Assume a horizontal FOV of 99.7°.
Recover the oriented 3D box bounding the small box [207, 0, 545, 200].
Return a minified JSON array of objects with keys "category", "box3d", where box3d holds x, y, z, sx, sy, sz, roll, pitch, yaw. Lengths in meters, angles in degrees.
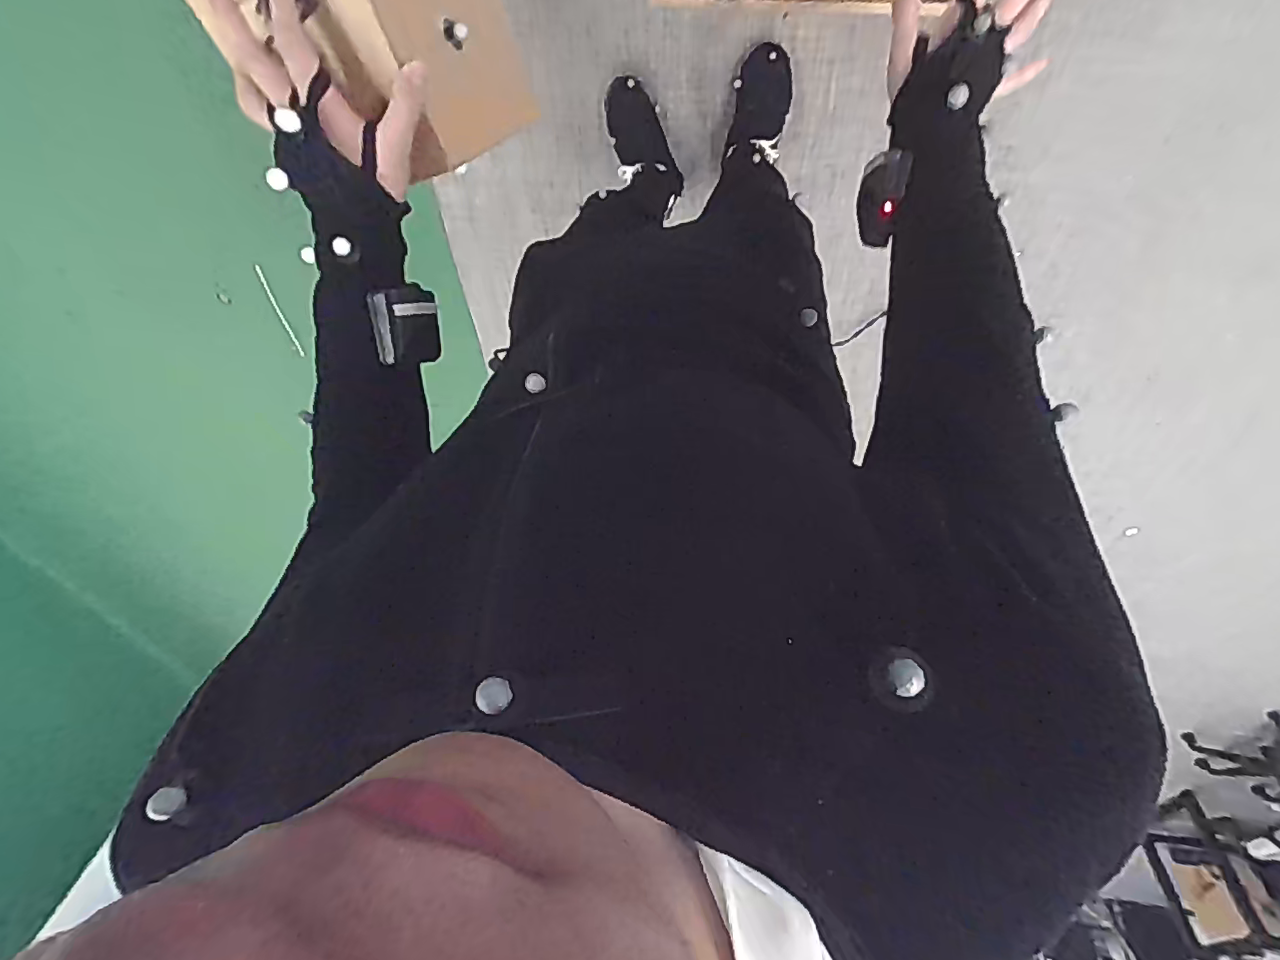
[{"category":"small box","box3d":[-0.212,-0.376,0.467,0.168,0.176,0.179,2,136,26]}]
